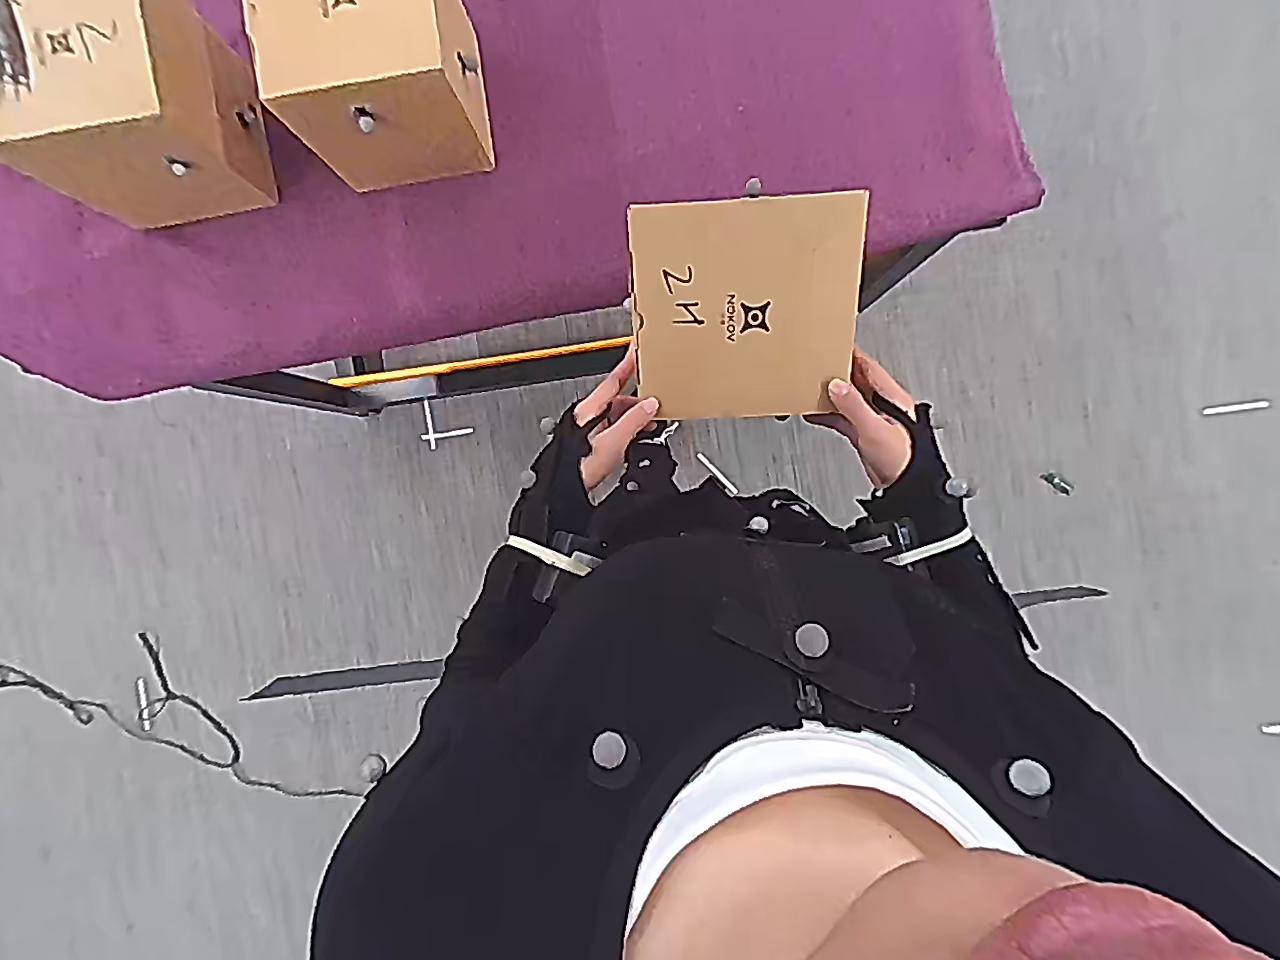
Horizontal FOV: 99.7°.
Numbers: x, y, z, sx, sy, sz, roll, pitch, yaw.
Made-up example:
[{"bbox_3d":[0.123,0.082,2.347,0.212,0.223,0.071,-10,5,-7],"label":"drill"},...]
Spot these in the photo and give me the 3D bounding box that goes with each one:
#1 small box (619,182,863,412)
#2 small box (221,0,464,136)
[{"bbox_3d":[0.079,-0.167,0.488,0.179,0.176,0.168,-2,114,5],"label":"small box"},{"bbox_3d":[-0.299,-0.500,0.565,0.179,0.176,0.168,-9,91,3],"label":"small box"}]
